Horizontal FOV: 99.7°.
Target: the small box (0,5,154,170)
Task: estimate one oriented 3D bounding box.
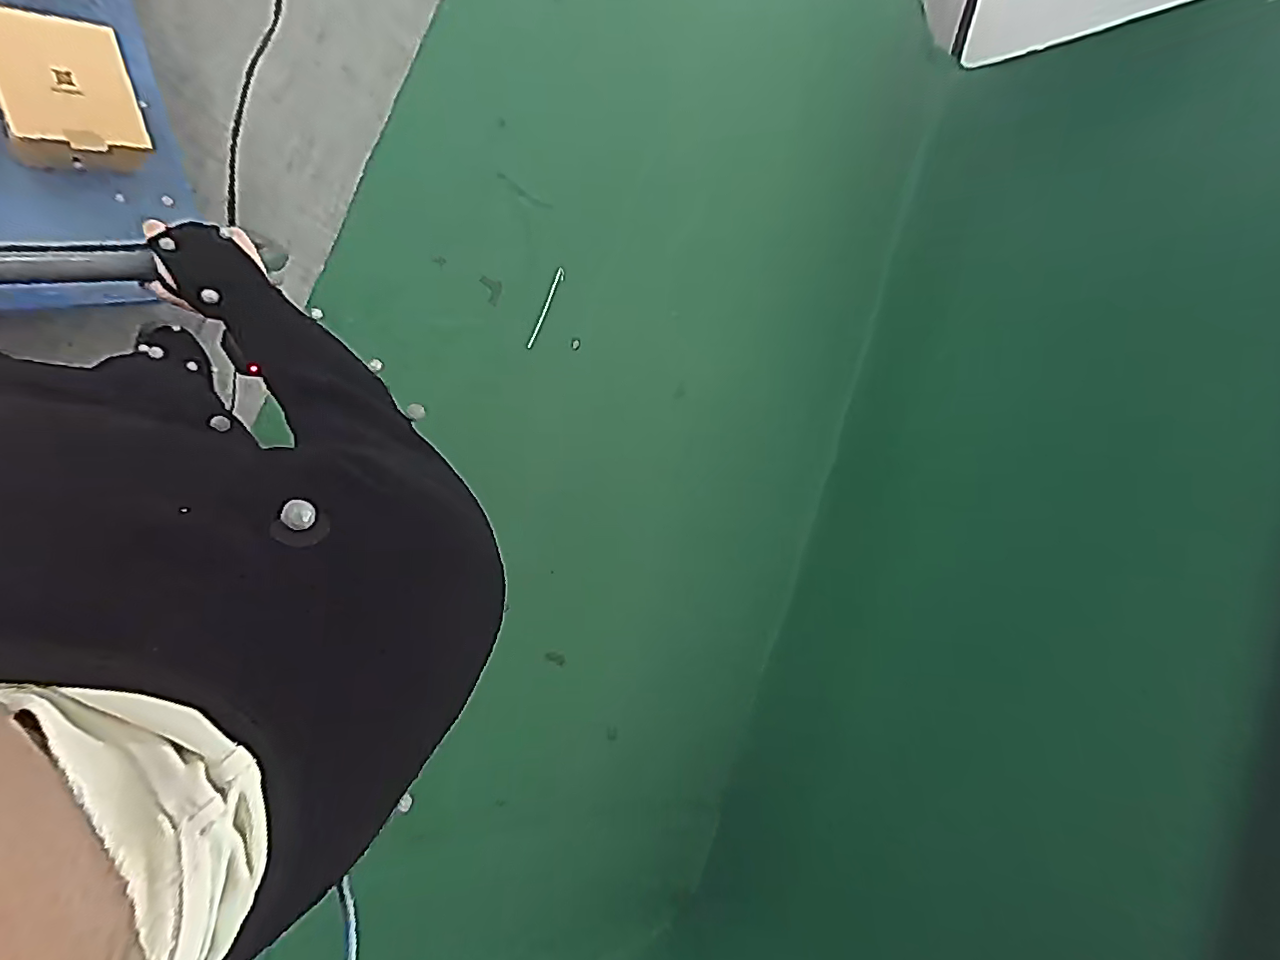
[{"bbox_3d":[-0.953,-0.638,0.897,0.168,0.176,0.179,-24,117,-41],"label":"small box"}]
